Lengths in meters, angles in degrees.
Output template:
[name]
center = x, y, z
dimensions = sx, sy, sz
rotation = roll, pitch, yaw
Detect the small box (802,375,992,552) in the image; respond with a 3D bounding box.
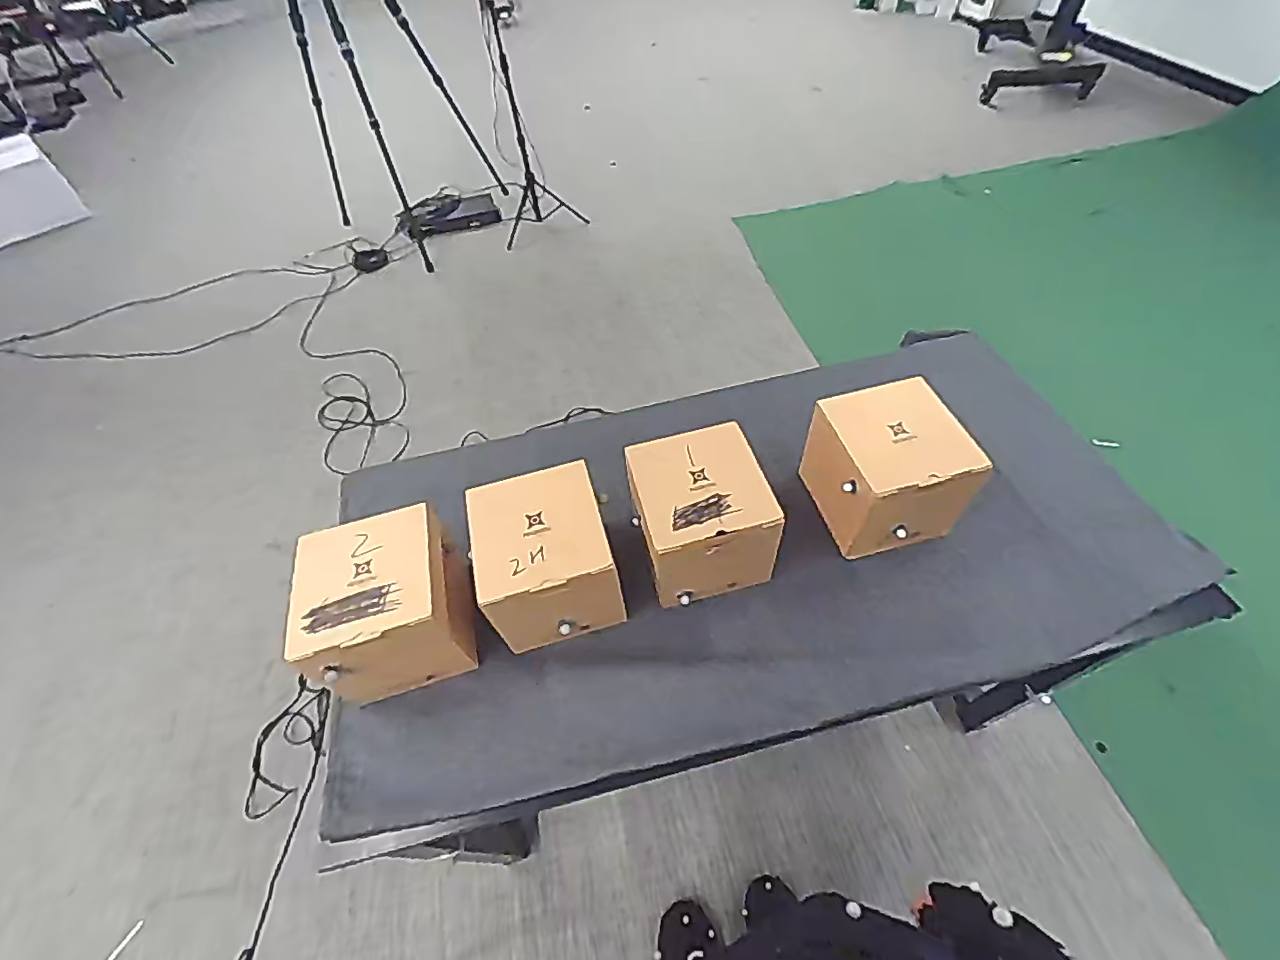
[small box]
center = 0.356, -0.022, 0.795
dimensions = 0.168, 0.176, 0.179
rotation = -14, 54, -5
